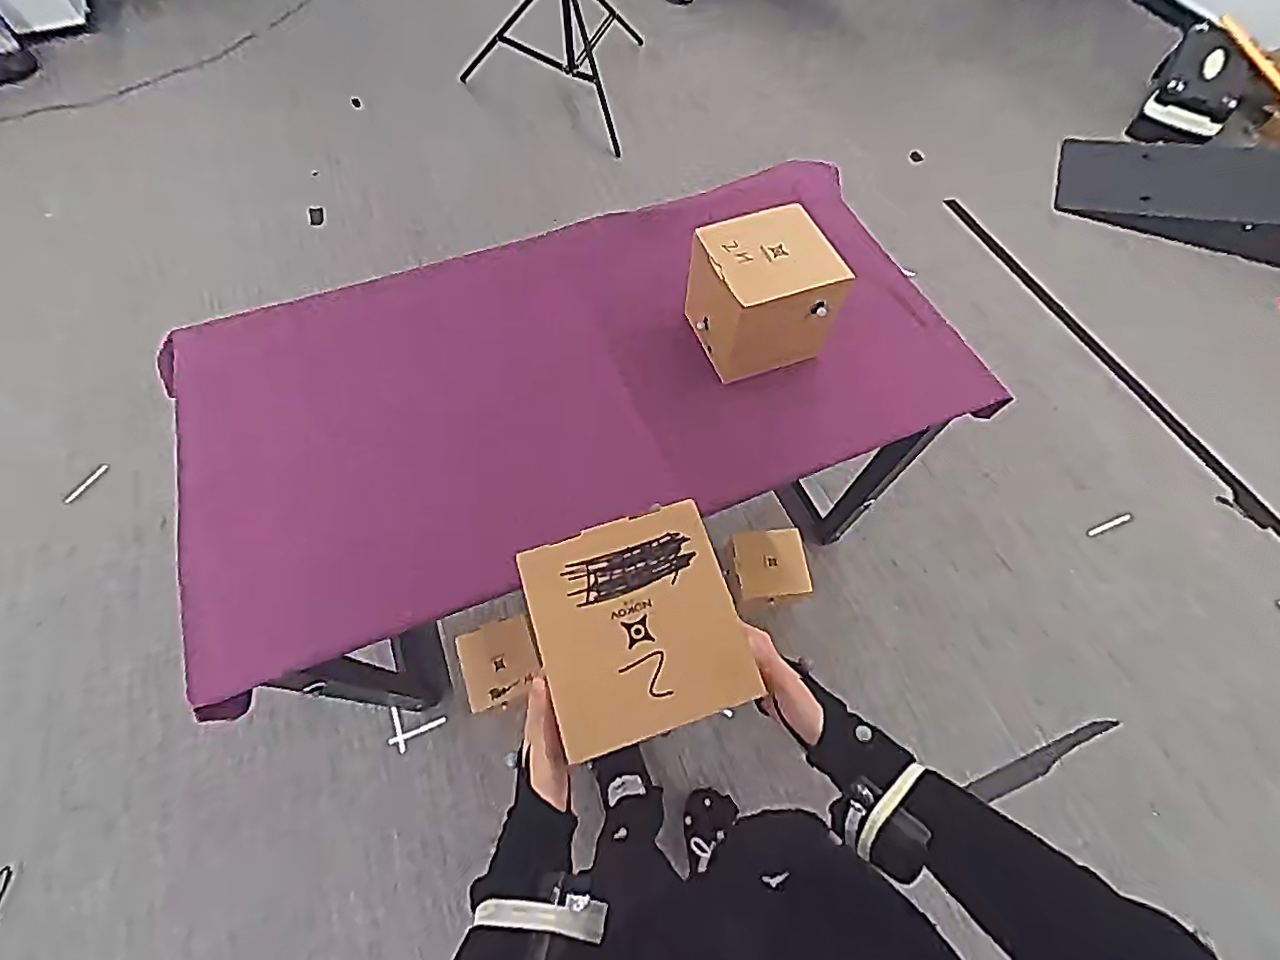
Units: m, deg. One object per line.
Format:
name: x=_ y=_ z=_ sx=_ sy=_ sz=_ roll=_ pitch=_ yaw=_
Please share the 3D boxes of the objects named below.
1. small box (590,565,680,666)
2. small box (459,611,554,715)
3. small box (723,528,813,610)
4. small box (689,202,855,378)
small box: x=-0.016 y=0.338 z=1.334 sx=0.168 sy=0.176 sz=0.179 roll=-21 pitch=67 yaw=-10
small box: x=-0.312 y=0.438 z=1.282 sx=0.168 sy=0.176 sz=0.179 roll=-18 pitch=64 yaw=-9
small box: x=0.320 y=0.233 z=1.391 sx=0.179 sy=0.176 sz=0.168 roll=-5 pitch=64 yaw=-2
small box: x=0.187 y=-0.286 z=0.831 sx=0.179 sy=0.176 sz=0.168 roll=-18 pitch=64 yaw=-9
